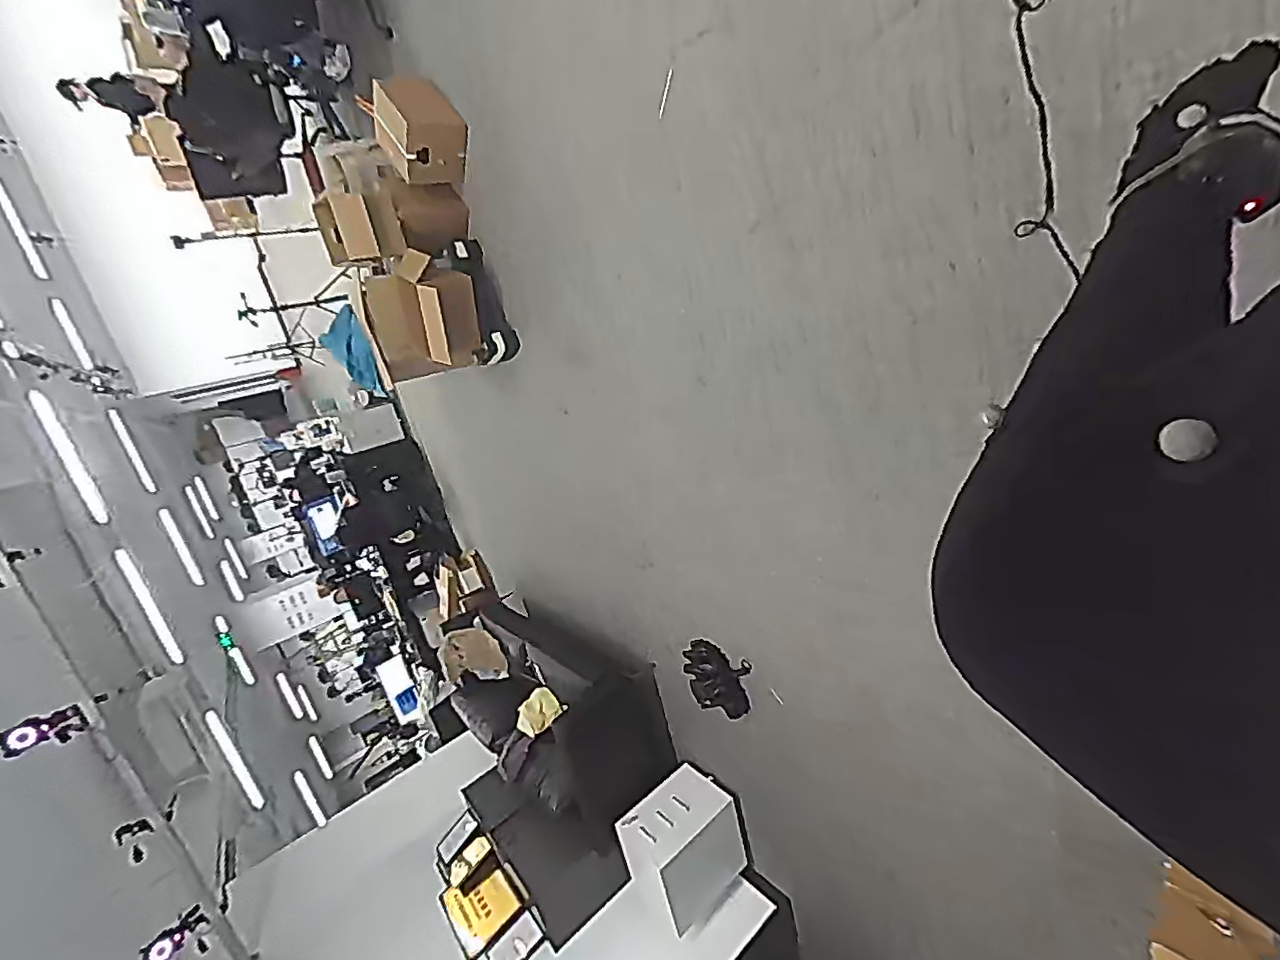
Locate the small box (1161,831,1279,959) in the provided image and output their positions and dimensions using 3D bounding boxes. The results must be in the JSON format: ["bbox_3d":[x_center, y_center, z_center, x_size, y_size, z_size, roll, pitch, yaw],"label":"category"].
[{"bbox_3d":[1.365,0.984,1.274,0.179,0.176,0.168,11,119,53],"label":"small box"}]

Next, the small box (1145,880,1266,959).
[{"bbox_3d":[1.242,1.049,1.190,0.168,0.176,0.179,6,114,52],"label":"small box"}]
